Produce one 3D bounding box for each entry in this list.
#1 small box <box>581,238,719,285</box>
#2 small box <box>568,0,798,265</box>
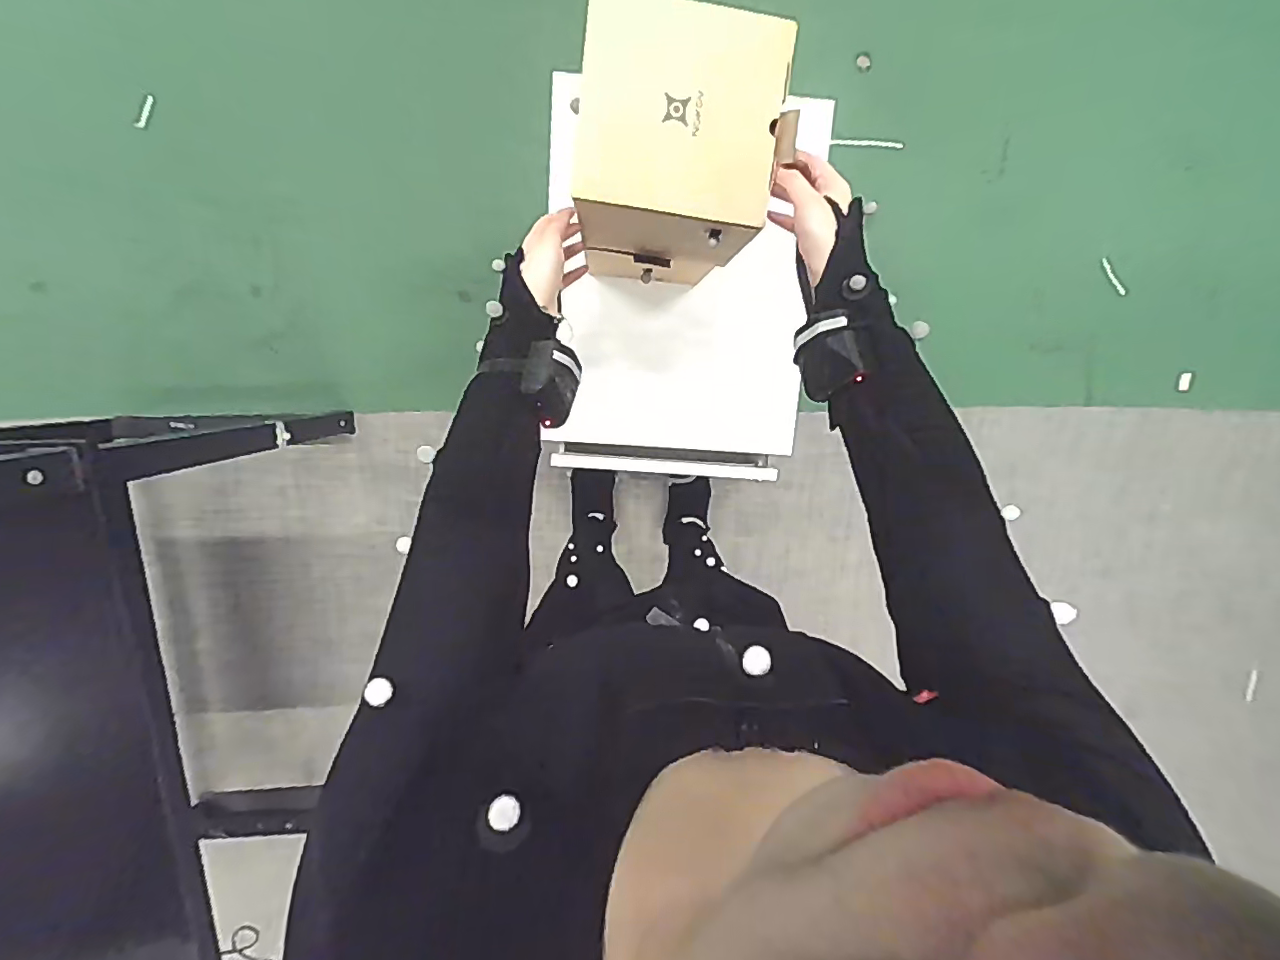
[{"bbox_3d":[0.016,-0.353,0.687,0.168,0.176,0.179,4,101,-5],"label":"small box"},{"bbox_3d":[0.030,-0.320,0.528,0.179,0.176,0.168,6,100,-5],"label":"small box"}]
